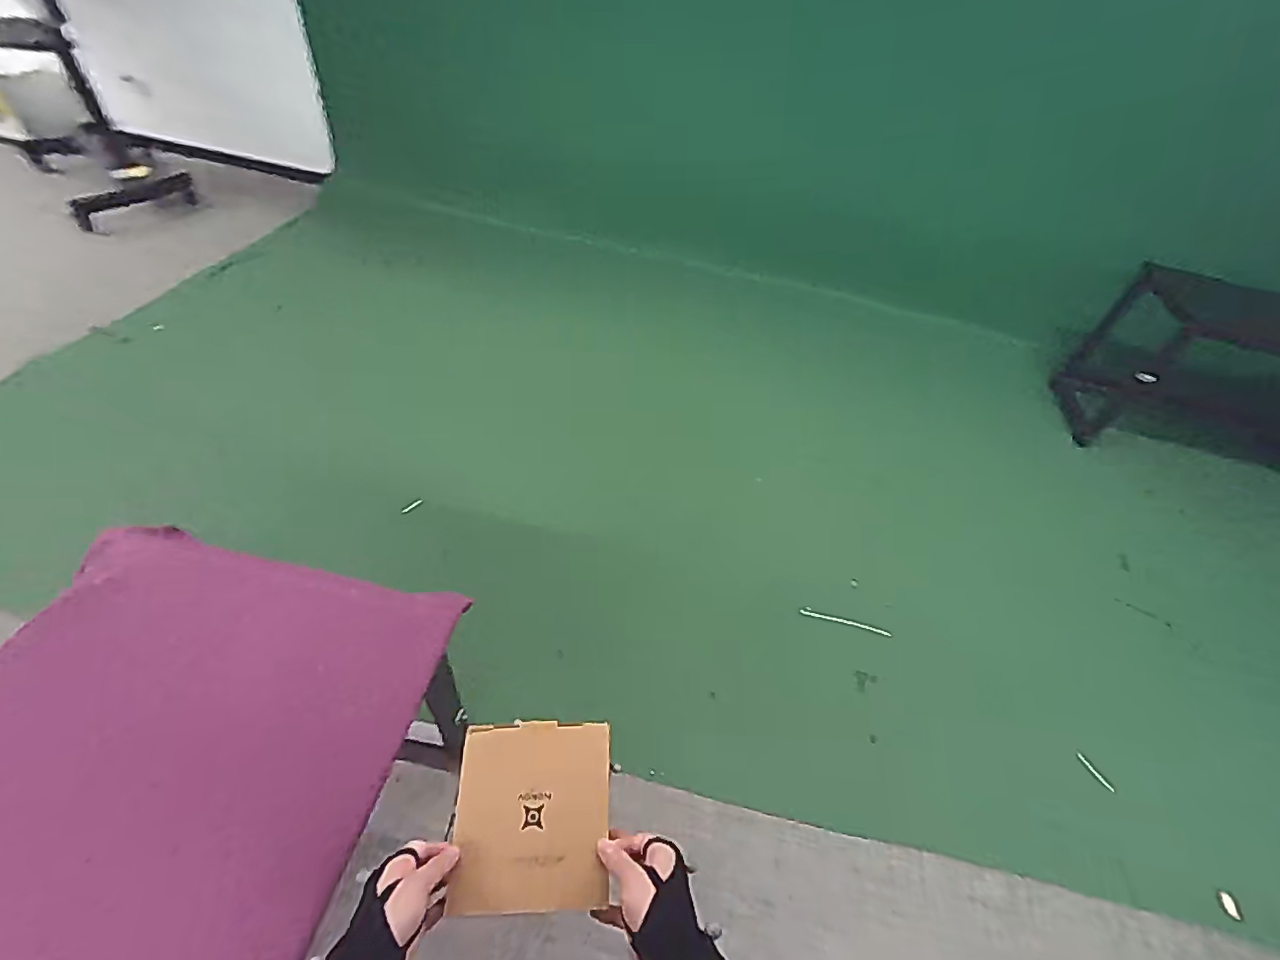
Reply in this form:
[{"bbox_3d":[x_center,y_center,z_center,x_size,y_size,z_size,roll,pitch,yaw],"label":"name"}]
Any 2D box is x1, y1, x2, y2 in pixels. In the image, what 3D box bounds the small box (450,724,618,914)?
[{"bbox_3d":[-0.113,0.401,0.651,0.168,0.176,0.179,1,59,-2],"label":"small box"}]
